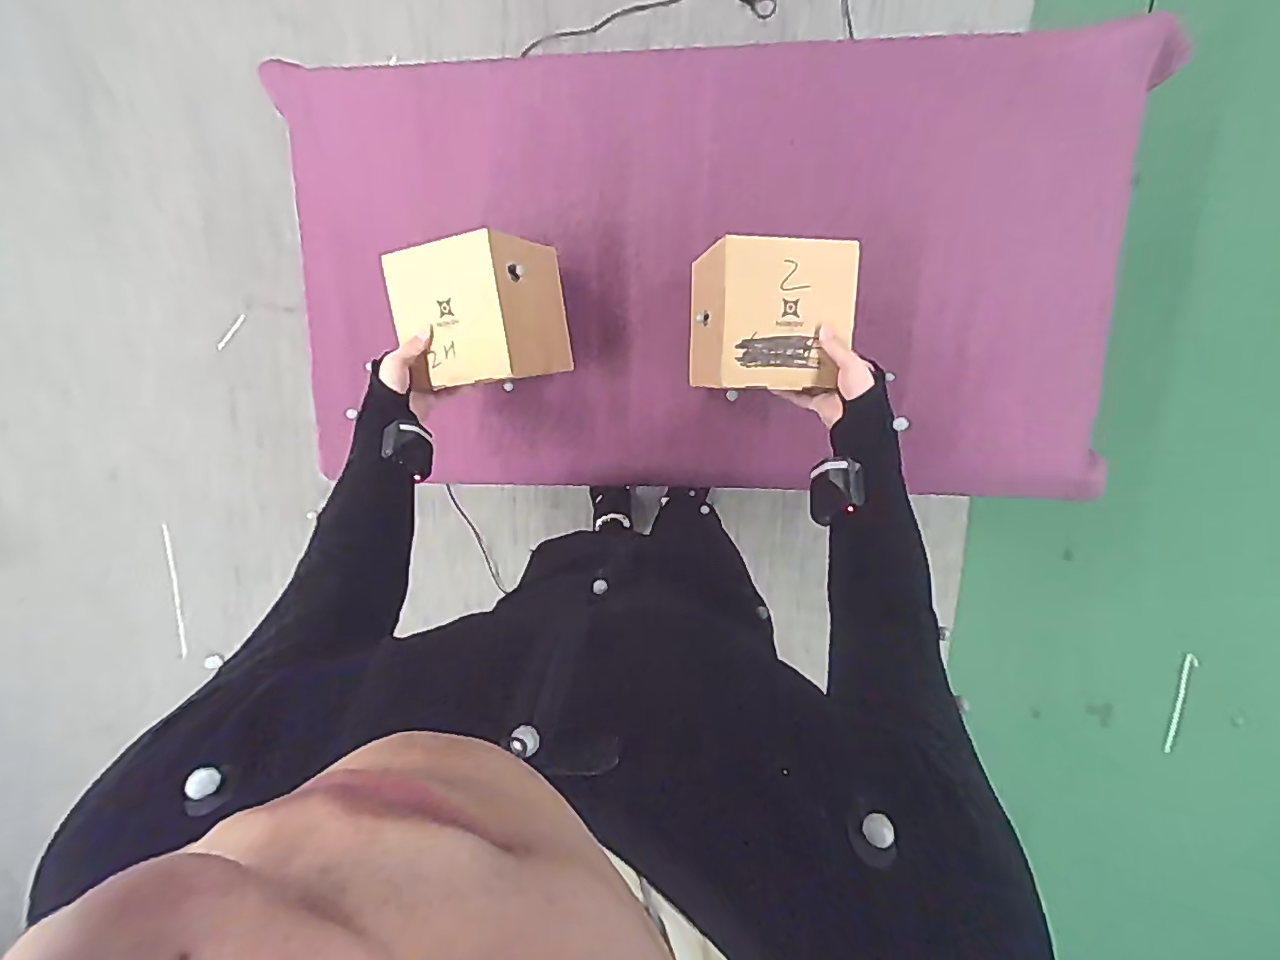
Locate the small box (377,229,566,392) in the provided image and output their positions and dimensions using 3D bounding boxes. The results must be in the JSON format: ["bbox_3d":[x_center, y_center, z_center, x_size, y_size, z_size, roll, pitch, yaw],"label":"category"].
[{"bbox_3d":[-0.218,-0.220,0.739,0.168,0.176,0.179,-3,103,21],"label":"small box"}]
